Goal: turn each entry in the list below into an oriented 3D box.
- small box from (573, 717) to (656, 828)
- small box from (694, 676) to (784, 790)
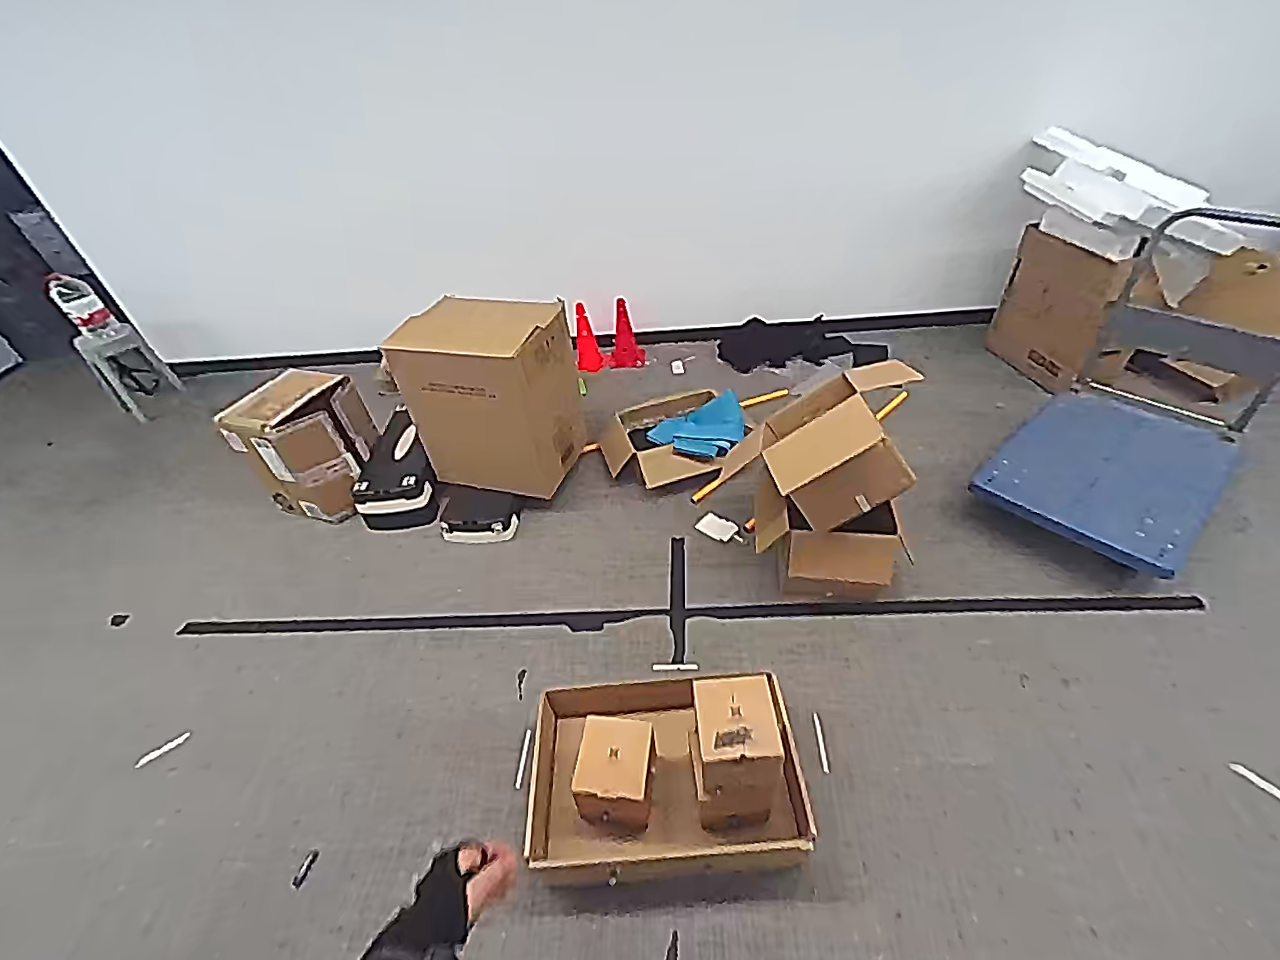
[{"bbox_3d":[-0.052,0.702,1.300,0.168,0.176,0.179,2,41,9],"label":"small box"},{"bbox_3d":[0.210,0.555,1.177,0.168,0.176,0.179,-6,39,2],"label":"small box"}]
